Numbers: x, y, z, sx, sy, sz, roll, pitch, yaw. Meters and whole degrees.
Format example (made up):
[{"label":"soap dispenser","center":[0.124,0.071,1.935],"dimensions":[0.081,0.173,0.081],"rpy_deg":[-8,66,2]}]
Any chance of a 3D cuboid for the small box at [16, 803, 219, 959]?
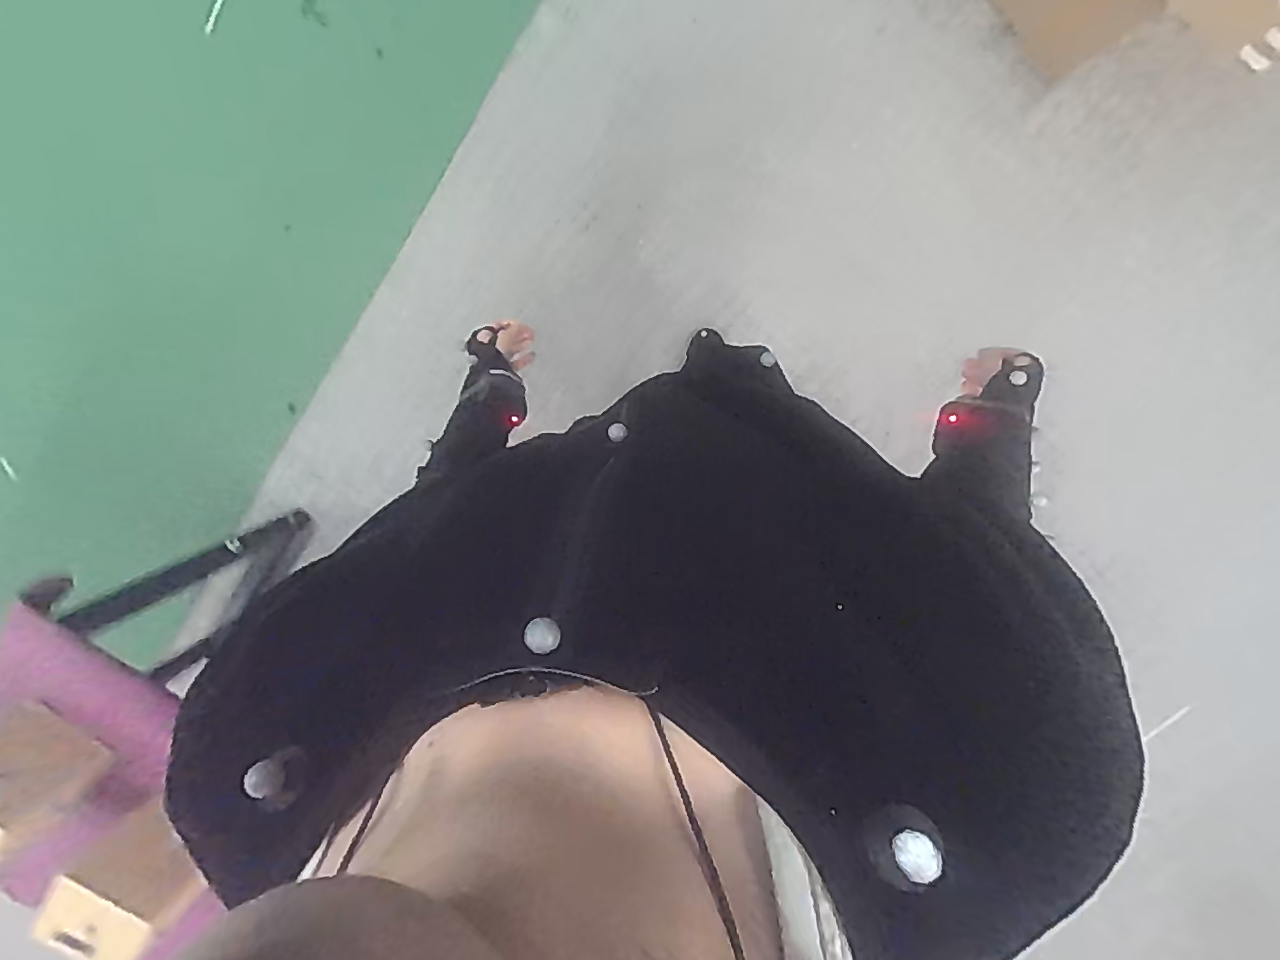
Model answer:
[{"label":"small box","center":[-0.885,0.713,0.932],"dimensions":[0.168,0.176,0.179],"rpy_deg":[35,104,-5]}]
